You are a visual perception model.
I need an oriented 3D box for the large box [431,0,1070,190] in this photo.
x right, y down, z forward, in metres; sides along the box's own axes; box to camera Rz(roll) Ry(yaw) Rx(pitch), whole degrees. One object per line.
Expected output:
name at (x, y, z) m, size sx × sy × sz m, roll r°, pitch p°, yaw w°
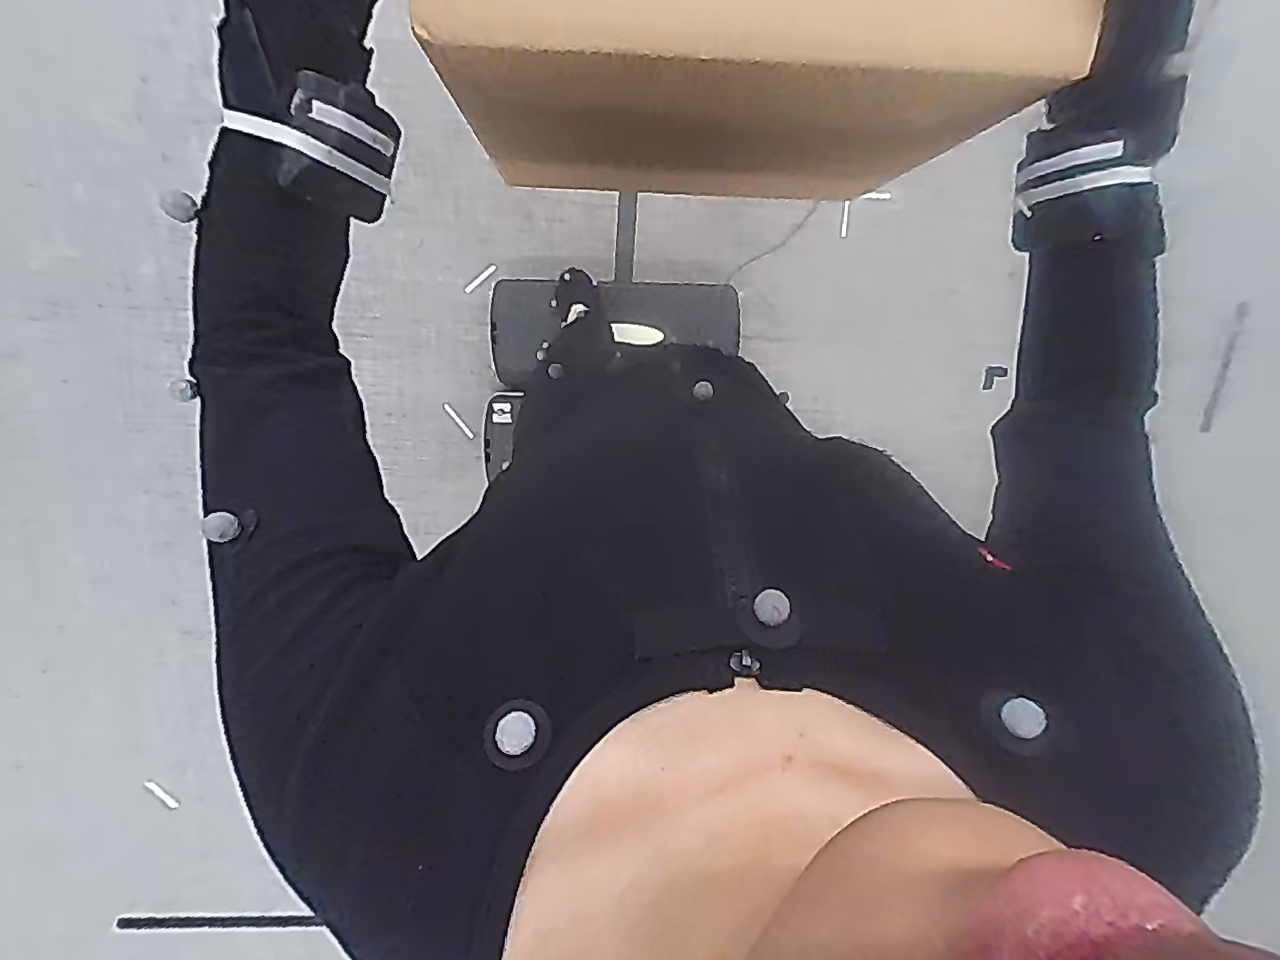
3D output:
large box at (0.061, -0.447, 0.440) m, size 0.408 × 0.320 × 0.320 m, roll 0°, pitch 105°, yaw -5°
